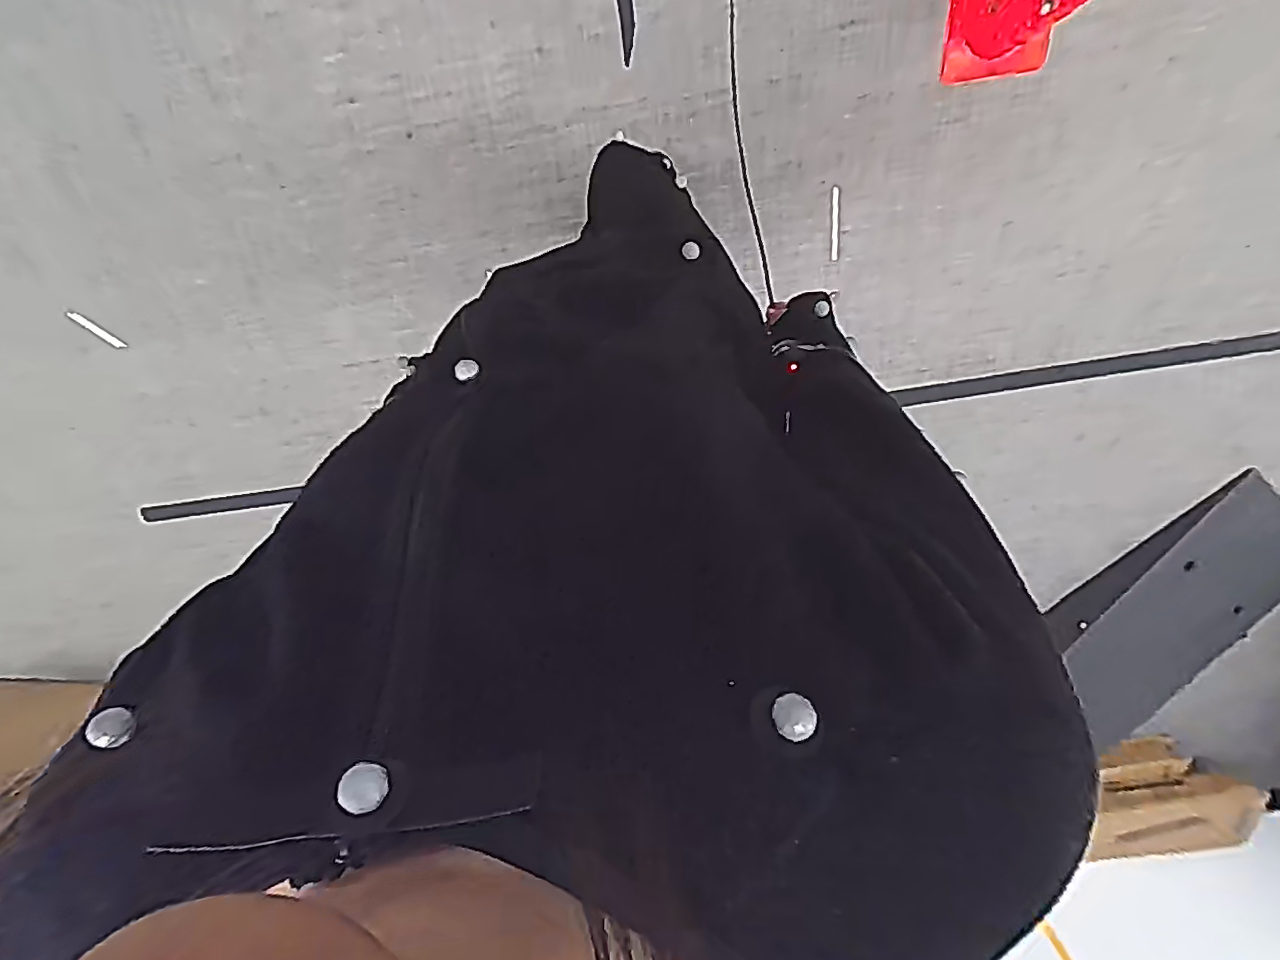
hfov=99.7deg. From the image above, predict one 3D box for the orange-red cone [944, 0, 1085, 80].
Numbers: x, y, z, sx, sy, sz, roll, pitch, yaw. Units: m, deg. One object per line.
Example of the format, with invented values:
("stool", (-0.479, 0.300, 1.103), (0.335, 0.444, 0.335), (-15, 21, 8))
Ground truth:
("orange-red cone", (0.685, -0.800, 0.870), (0.198, 0.360, 0.199), (-4, 119, 3))
